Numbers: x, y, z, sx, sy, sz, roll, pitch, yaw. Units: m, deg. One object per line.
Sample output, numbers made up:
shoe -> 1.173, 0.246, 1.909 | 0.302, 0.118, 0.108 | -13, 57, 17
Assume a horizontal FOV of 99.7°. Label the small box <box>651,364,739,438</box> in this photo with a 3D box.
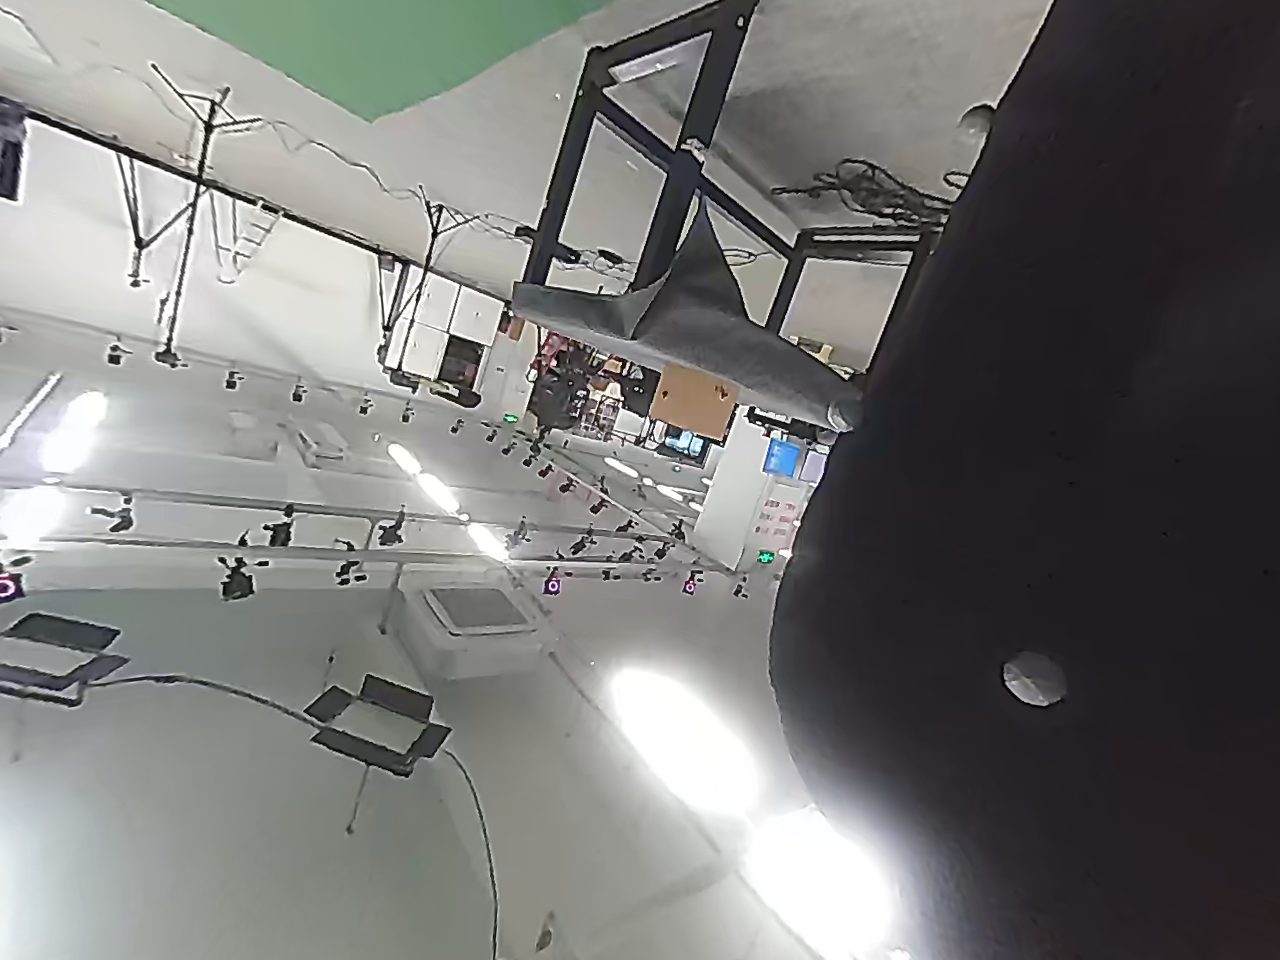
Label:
small box -> 0.166, -0.239, 1.613 | 0.168, 0.176, 0.179 | 8, -167, -44
